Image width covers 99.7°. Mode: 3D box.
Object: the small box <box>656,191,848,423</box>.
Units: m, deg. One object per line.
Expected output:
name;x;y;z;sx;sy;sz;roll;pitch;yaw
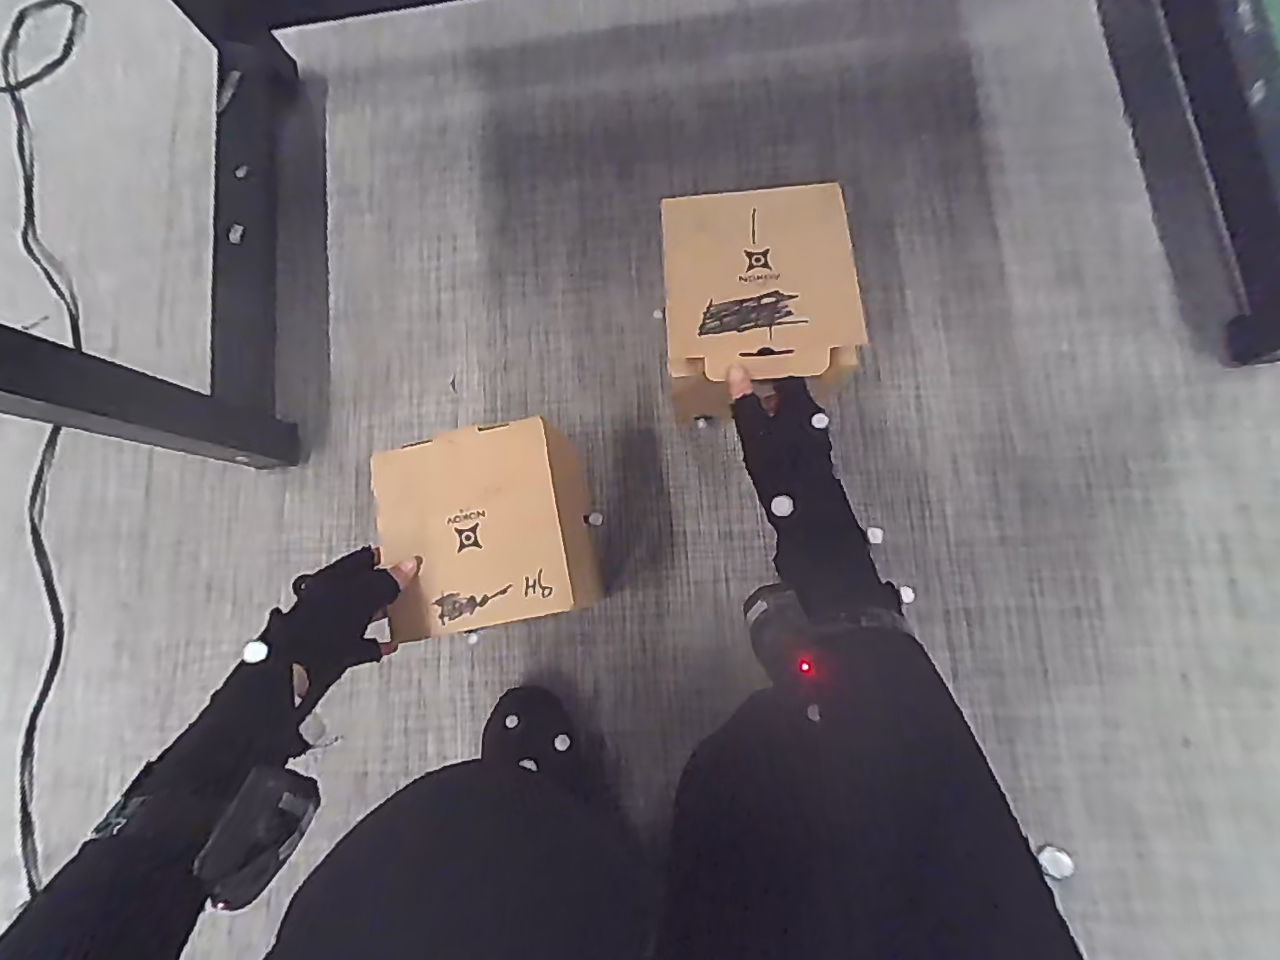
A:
small box;0.107;-0.163;0.566;0.168;0.176;0.179;-3;80;5
